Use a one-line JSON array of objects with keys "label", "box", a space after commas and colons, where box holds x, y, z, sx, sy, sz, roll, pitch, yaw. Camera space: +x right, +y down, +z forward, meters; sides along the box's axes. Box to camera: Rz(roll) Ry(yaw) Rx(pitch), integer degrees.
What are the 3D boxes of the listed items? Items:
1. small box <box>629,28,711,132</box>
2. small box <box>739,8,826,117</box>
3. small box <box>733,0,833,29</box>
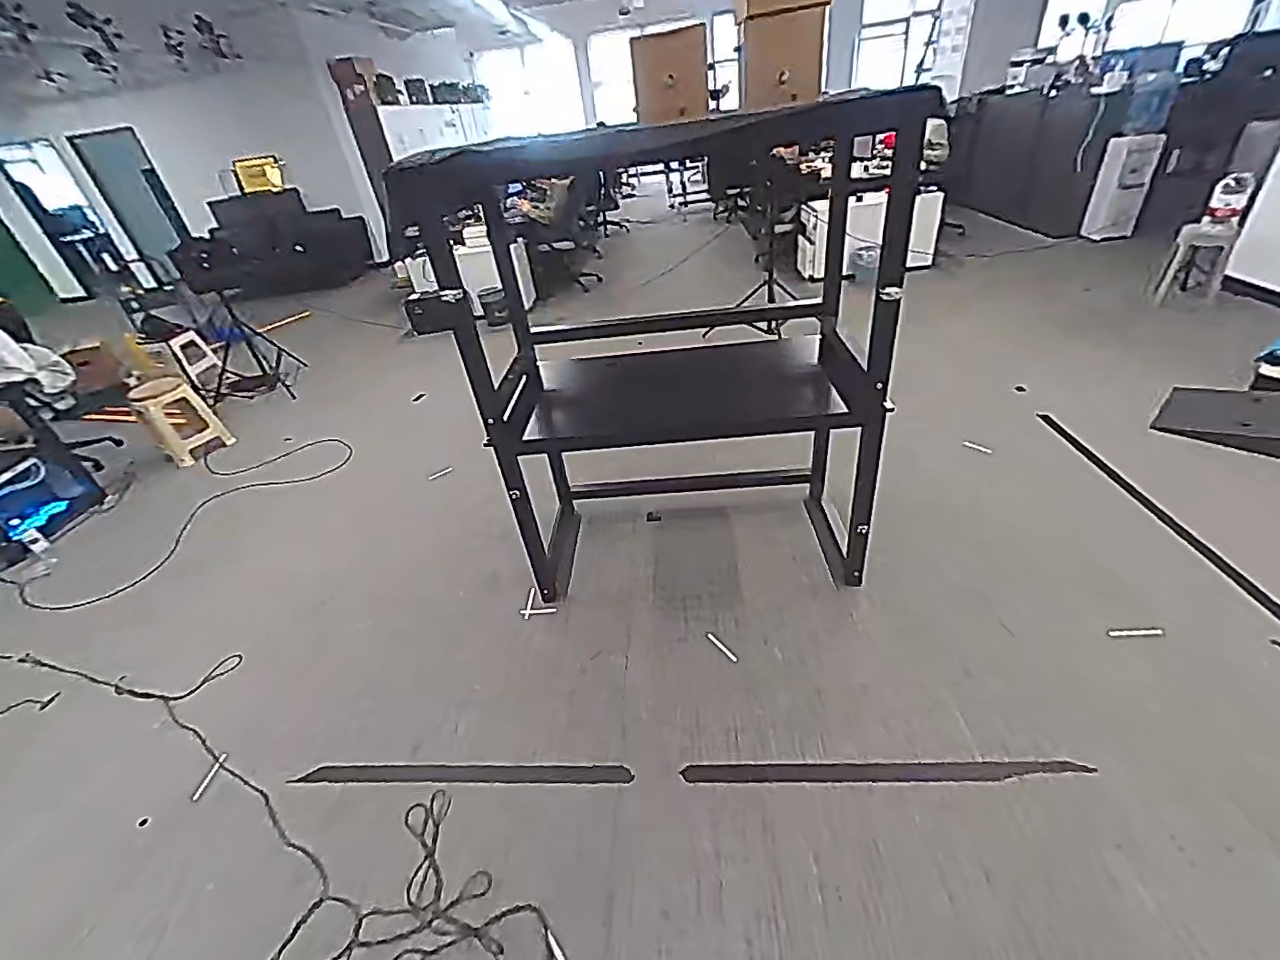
[{"label": "small box", "box": [0.076, -0.907, 1.239, 0.168, 0.176, 0.179, -2, 34, 8]}, {"label": "small box", "box": [0.310, -0.922, 1.208, 0.168, 0.176, 0.179, -5, 34, 8]}, {"label": "small box", "box": [0.290, -1.052, 1.105, 0.179, 0.176, 0.168, -6, 33, 3]}]
